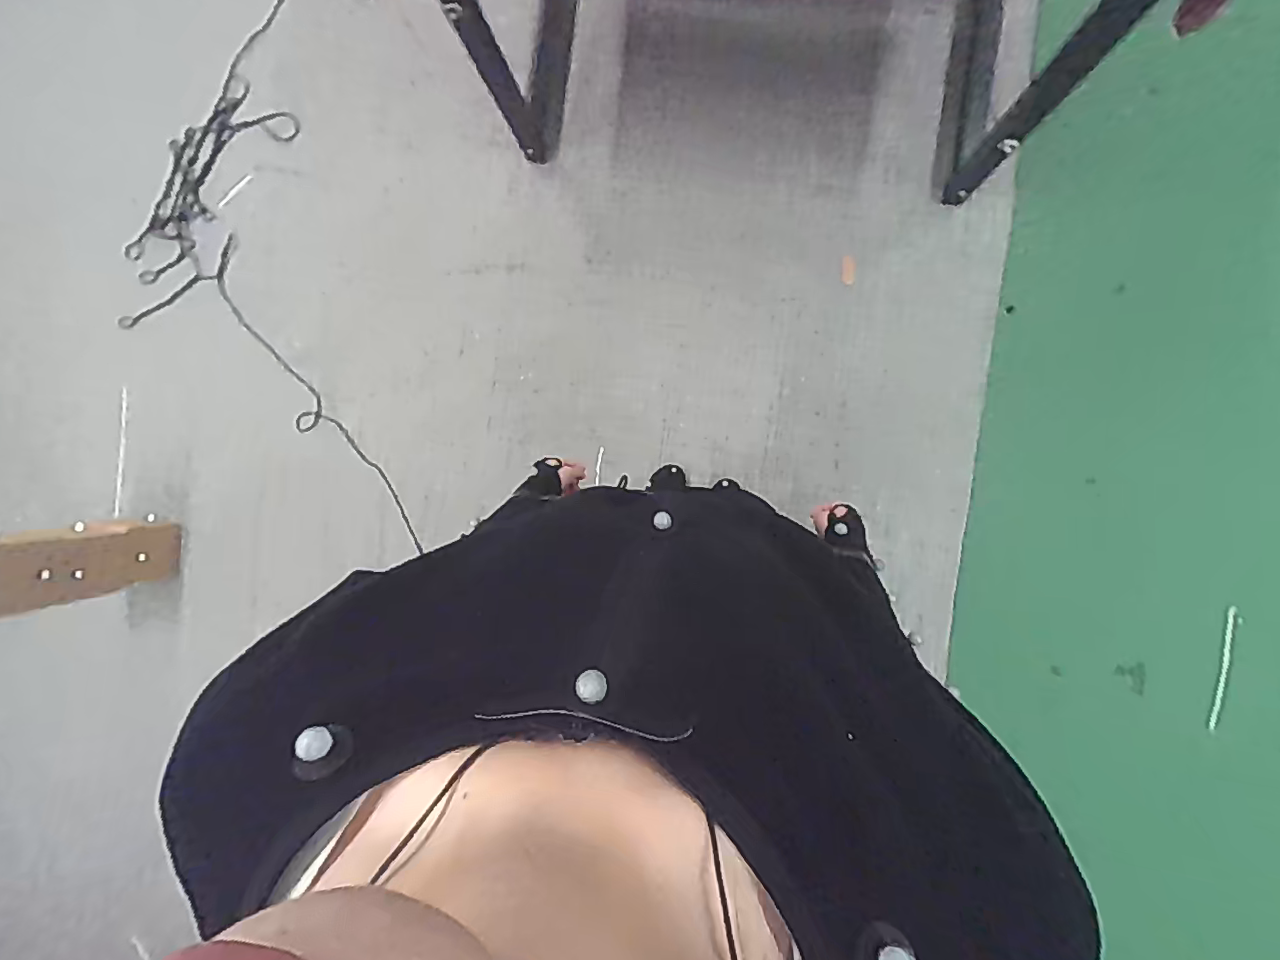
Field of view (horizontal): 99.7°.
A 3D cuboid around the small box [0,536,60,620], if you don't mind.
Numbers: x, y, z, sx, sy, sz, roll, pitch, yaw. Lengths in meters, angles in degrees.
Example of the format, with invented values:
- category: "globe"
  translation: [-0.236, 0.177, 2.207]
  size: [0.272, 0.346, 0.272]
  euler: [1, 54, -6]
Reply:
- category: "small box"
  translation: [-1.543, 0.231, 1.283]
  size: [0.168, 0.176, 0.179]
  euler: [4, 91, 6]

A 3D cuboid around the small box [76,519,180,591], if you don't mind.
- category: "small box"
  translation: [-1.521, 0.217, 1.610]
  size: [0.168, 0.176, 0.179]
  euler: [6, 91, 6]

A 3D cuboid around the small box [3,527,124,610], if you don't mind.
- category: "small box"
  translation: [-1.541, 0.231, 1.447]
  size: [0.168, 0.176, 0.179]
  euler: [6, 92, 5]
